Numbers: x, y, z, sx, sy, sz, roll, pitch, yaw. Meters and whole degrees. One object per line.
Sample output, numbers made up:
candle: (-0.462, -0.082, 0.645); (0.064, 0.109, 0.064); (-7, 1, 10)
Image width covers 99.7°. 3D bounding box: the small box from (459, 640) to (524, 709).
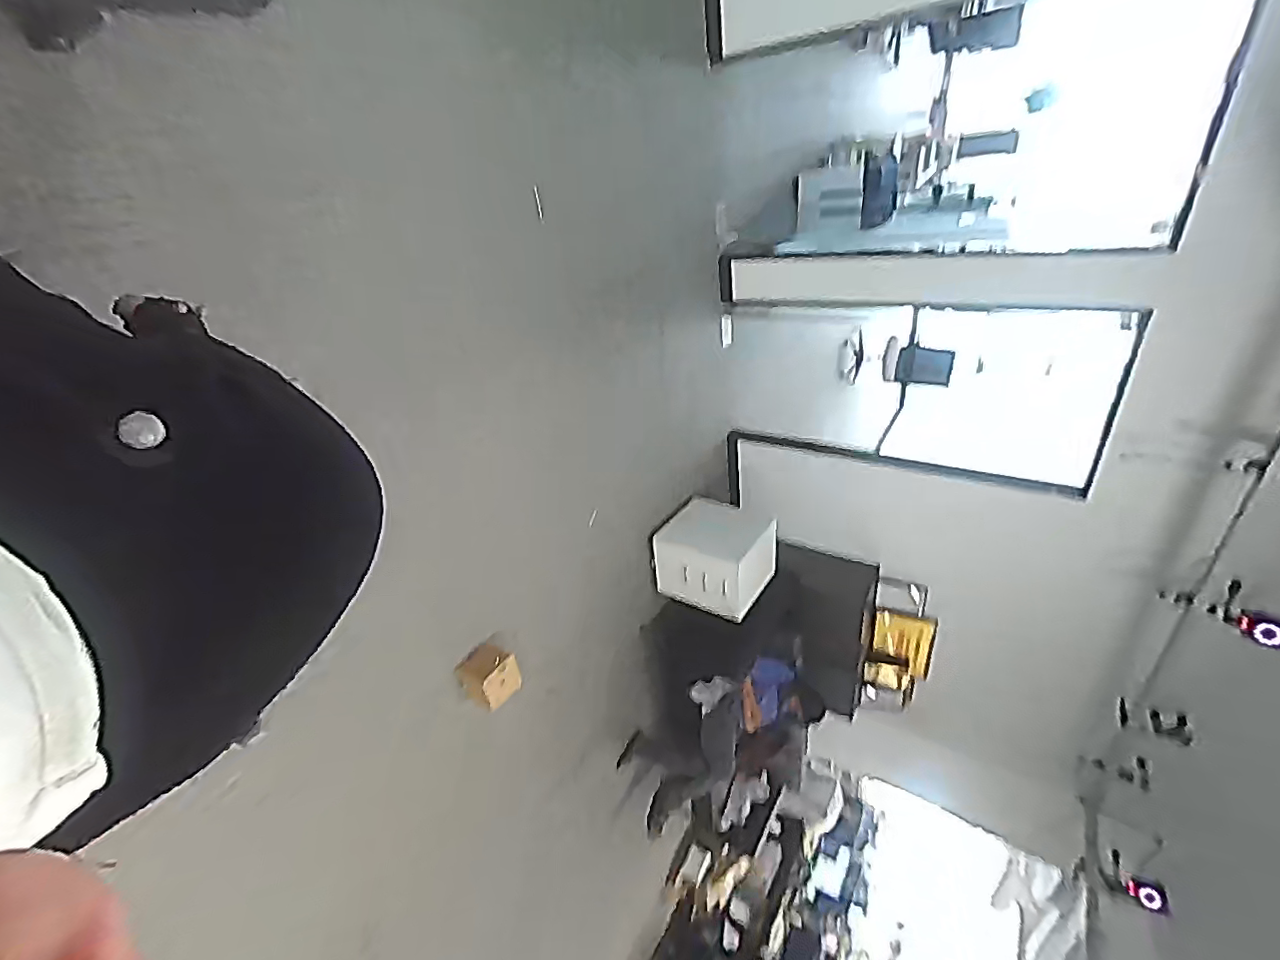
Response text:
small box: (-0.603, 0.783, 2.199); (0.168, 0.176, 0.179); (-41, 134, -44)
